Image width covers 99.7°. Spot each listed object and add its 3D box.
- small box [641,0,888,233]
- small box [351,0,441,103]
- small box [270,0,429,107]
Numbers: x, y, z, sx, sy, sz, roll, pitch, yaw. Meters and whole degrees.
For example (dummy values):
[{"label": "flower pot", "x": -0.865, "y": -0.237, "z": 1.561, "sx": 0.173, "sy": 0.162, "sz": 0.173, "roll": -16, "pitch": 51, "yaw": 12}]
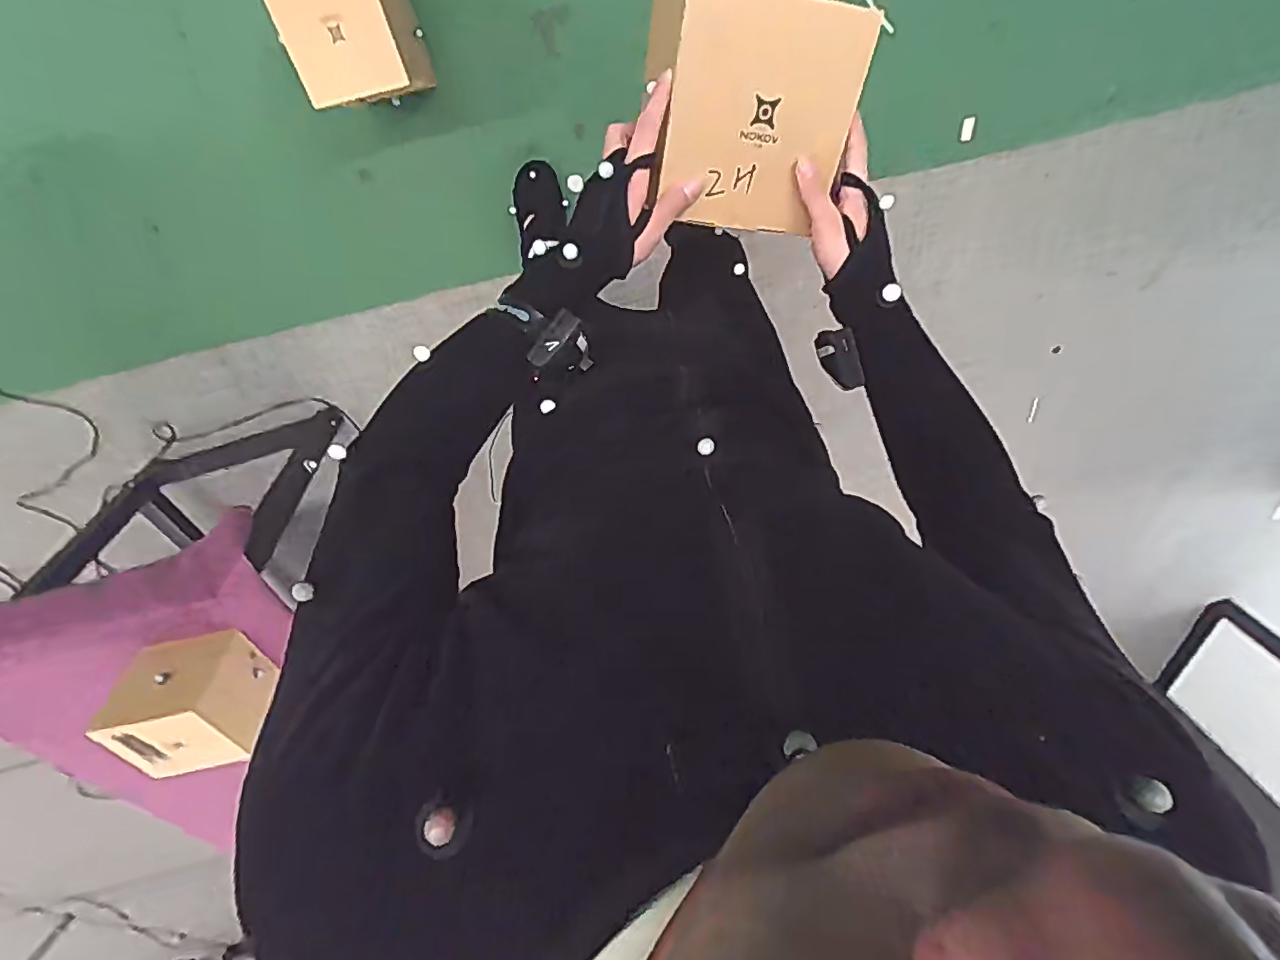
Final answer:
[{"label": "small box", "x": 0.098, "y": -0.365, "z": 0.530, "sx": 0.168, "sy": 0.176, "sz": 0.179, "roll": 2, "pitch": 129, "yaw": -10}, {"label": "small box", "x": -0.499, "y": -0.839, "z": 1.027, "sx": 0.168, "sy": 0.176, "sz": 0.179, "roll": -13, "pitch": 128, "yaw": 1}, {"label": "small box", "x": -0.473, "y": -0.745, "z": 0.899, "sx": 0.168, "sy": 0.176, "sz": 0.179, "roll": -14, "pitch": 126, "yaw": 1}]
